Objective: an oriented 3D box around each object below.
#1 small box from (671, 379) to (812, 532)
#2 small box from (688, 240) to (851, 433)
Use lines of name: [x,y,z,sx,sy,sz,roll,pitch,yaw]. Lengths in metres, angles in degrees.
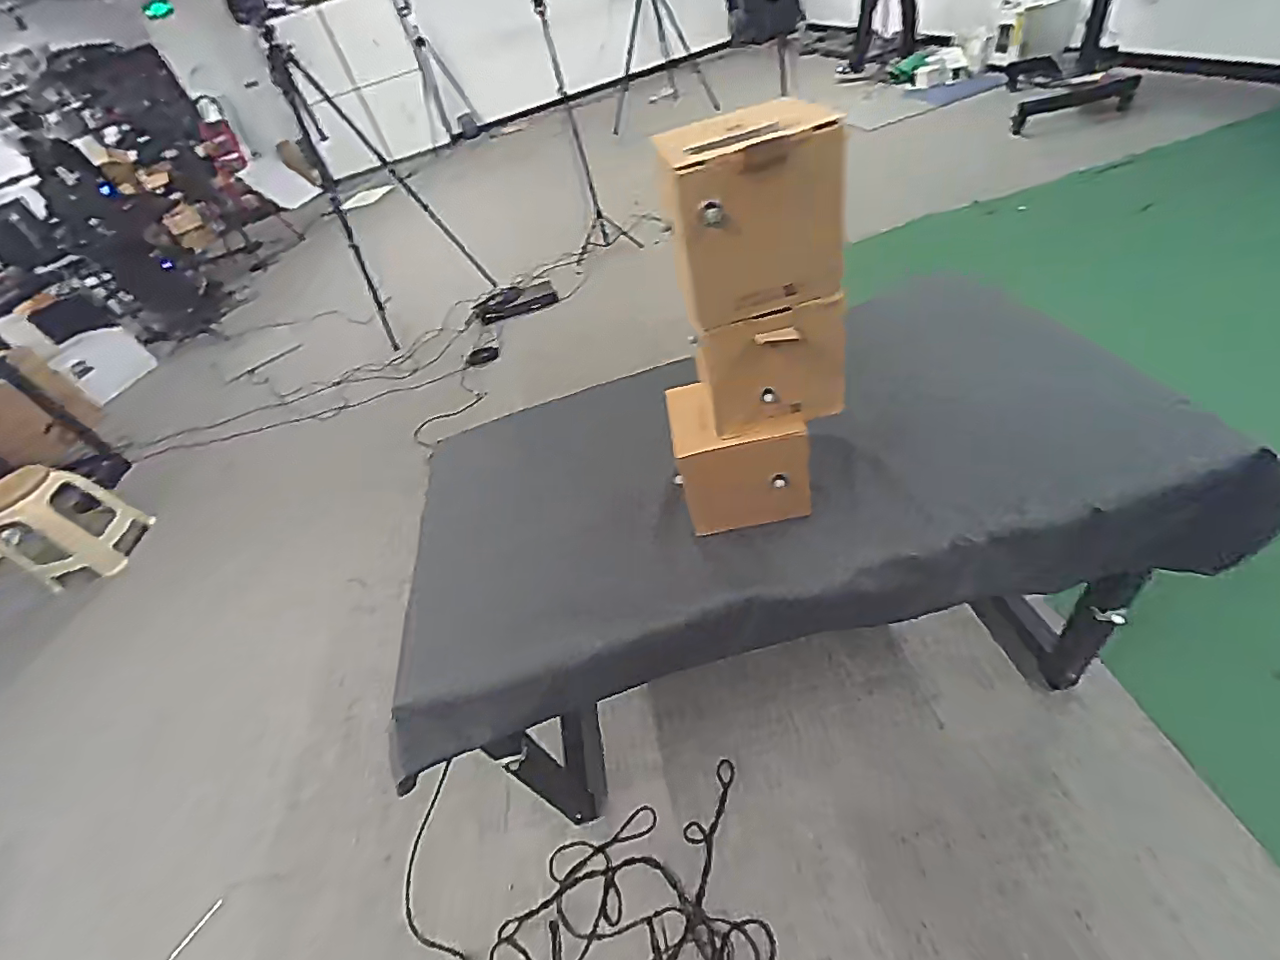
small box: [0.152,-0.045,0.813,0.179,0.176,0.168,-13,42,8]
small box: [0.165,-0.189,0.719,0.168,0.176,0.179,-12,43,6]
